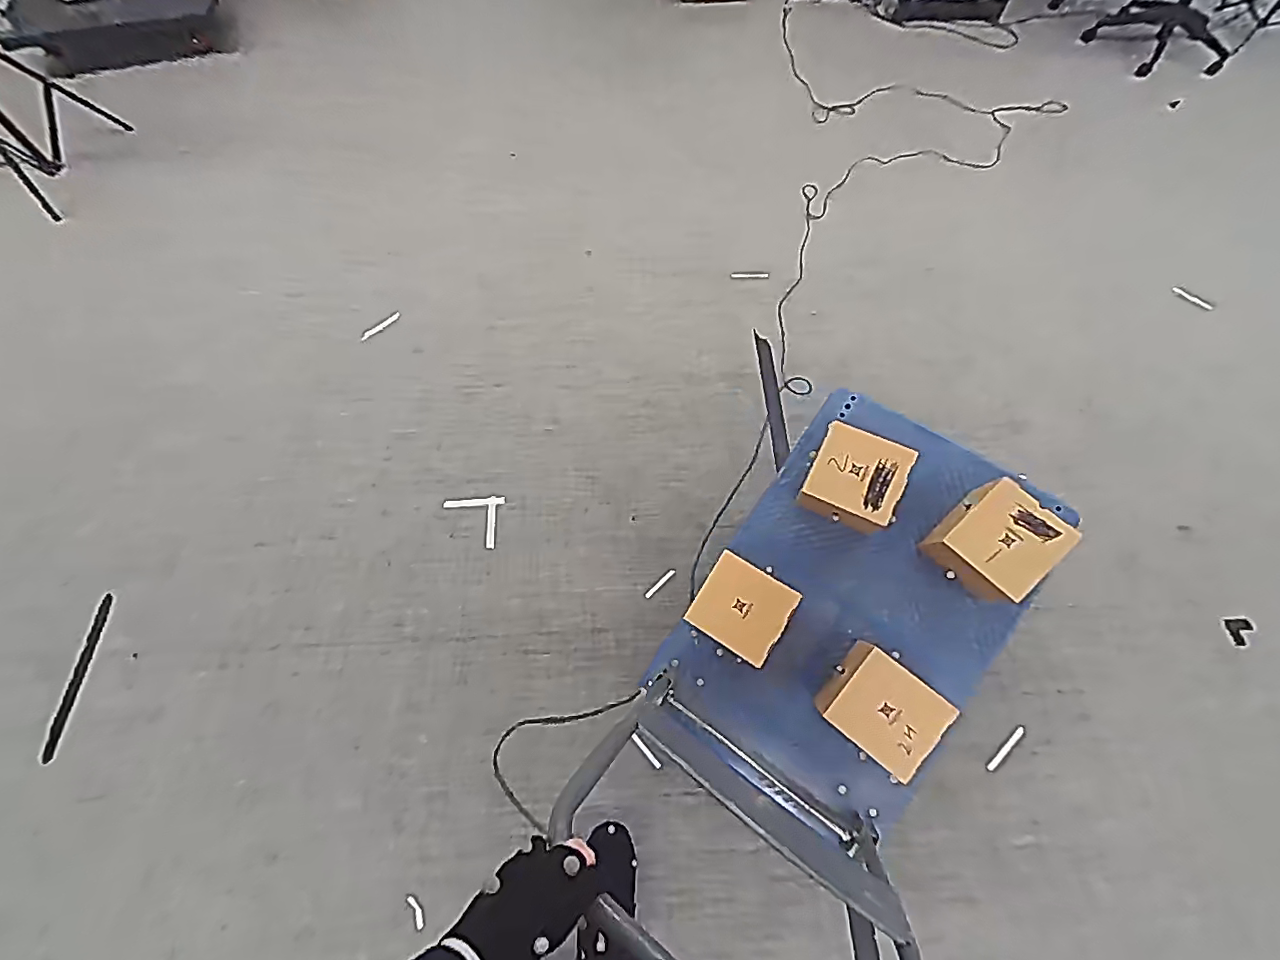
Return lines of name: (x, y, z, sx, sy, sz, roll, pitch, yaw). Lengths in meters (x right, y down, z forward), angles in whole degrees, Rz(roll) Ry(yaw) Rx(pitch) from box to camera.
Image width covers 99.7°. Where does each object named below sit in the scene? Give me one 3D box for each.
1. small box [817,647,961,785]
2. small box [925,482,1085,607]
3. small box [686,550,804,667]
small box: (0.468, 0.443, 1.052, 0.179, 0.176, 0.168, 39, 88, 16)
small box: (0.706, 0.131, 1.073, 0.179, 0.176, 0.168, -45, 73, 0)
small box: (0.218, 0.267, 1.140, 0.179, 0.176, 0.168, 32, 85, 14)
